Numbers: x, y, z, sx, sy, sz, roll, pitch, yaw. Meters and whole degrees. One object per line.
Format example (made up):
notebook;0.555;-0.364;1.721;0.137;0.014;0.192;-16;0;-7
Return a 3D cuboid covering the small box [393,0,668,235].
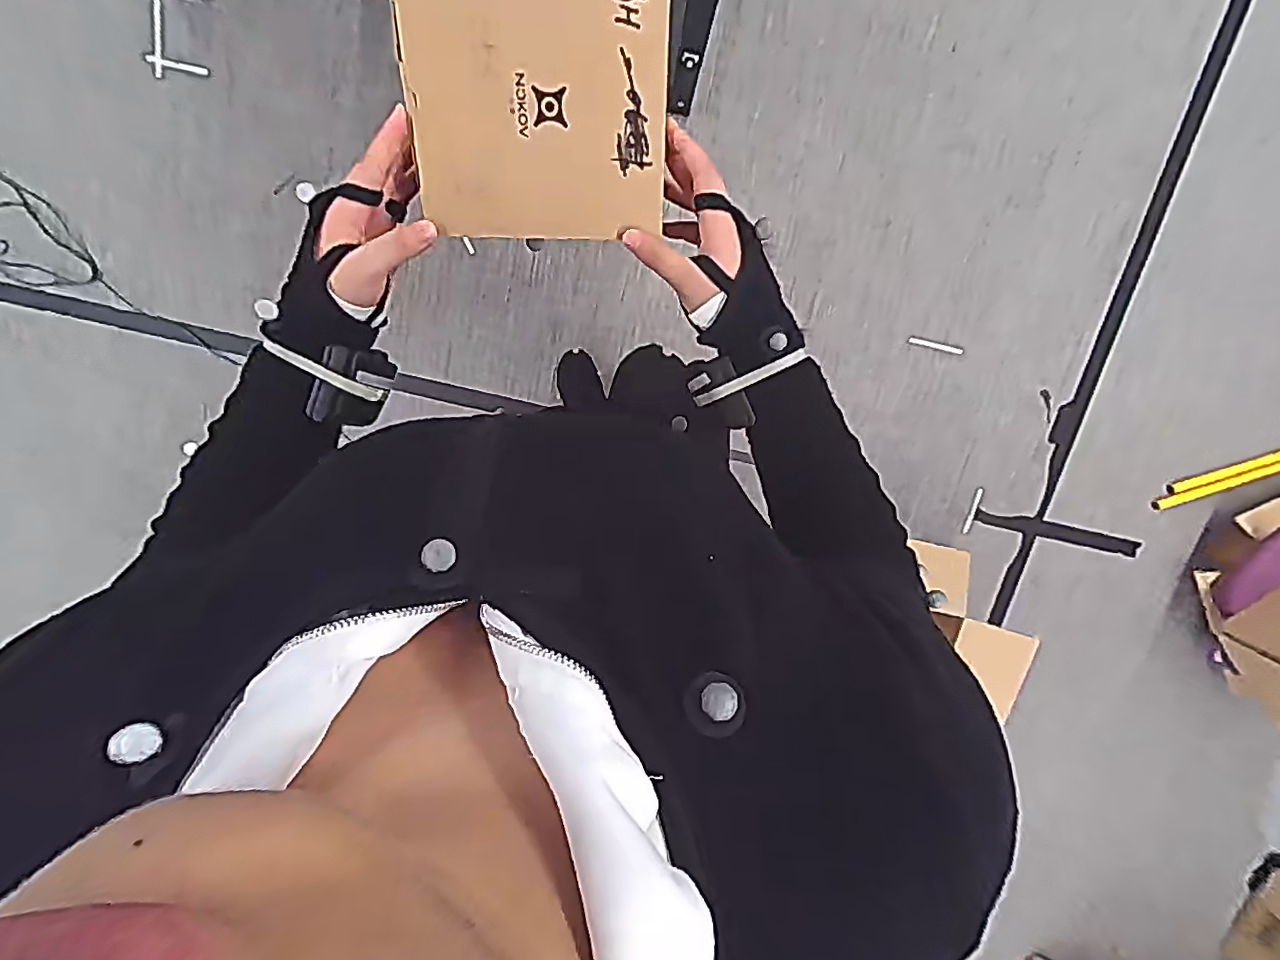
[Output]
small box;-0.073;-0.291;0.435;0.179;0.176;0.168;0;117;-3
